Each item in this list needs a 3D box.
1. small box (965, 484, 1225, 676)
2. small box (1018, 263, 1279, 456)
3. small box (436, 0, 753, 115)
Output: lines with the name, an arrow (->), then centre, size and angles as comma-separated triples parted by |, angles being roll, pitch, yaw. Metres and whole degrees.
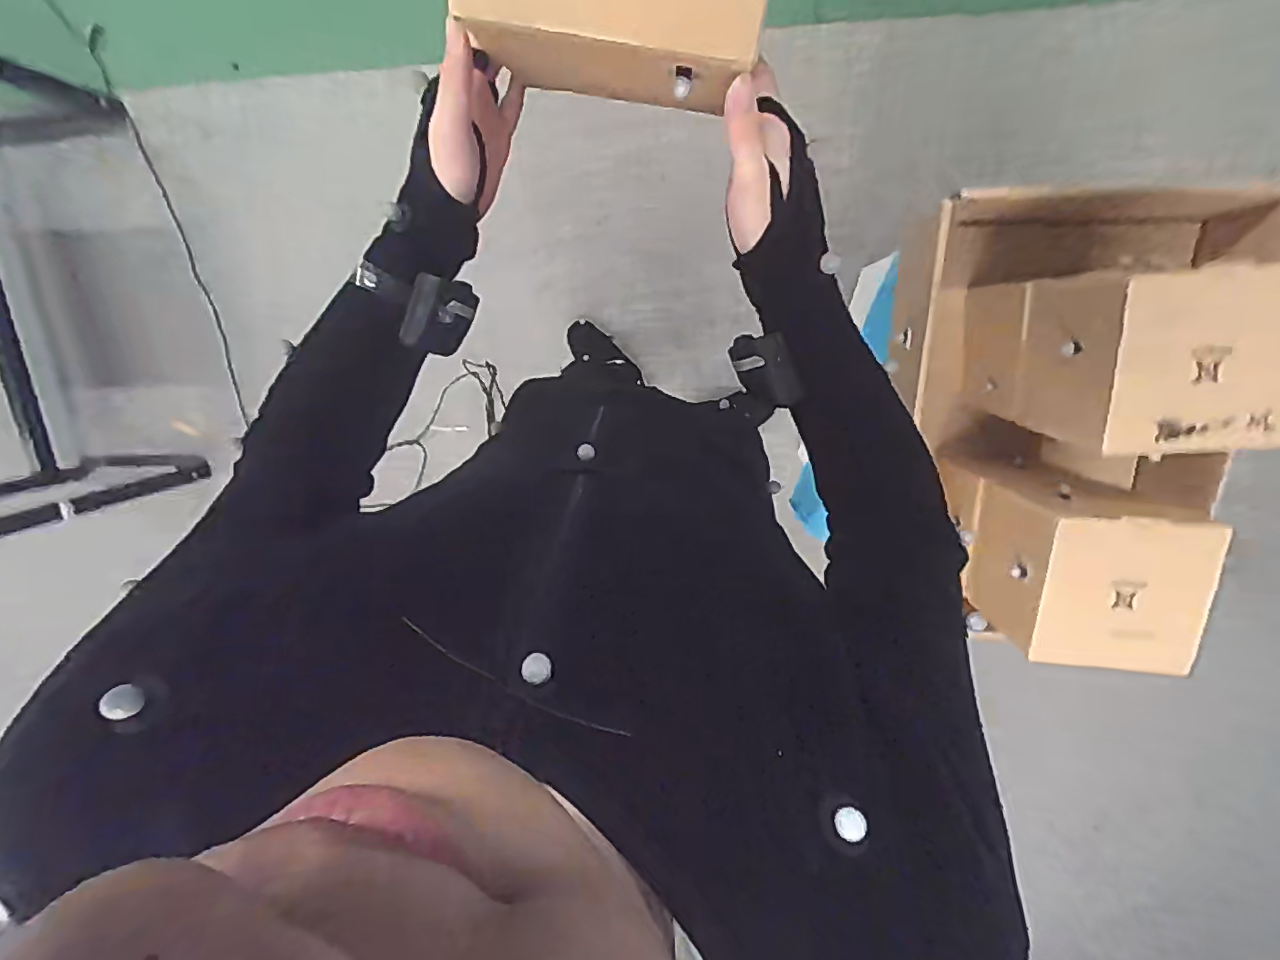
small box -> 0.529, 0.109, 0.662 | 0.168, 0.176, 0.179 | 4, 104, 7
small box -> 0.551, -0.131, 0.594 | 0.168, 0.176, 0.179 | -2, 106, 9
small box -> -0.016, -0.350, 0.343 | 0.179, 0.176, 0.168 | 7, 116, -2
